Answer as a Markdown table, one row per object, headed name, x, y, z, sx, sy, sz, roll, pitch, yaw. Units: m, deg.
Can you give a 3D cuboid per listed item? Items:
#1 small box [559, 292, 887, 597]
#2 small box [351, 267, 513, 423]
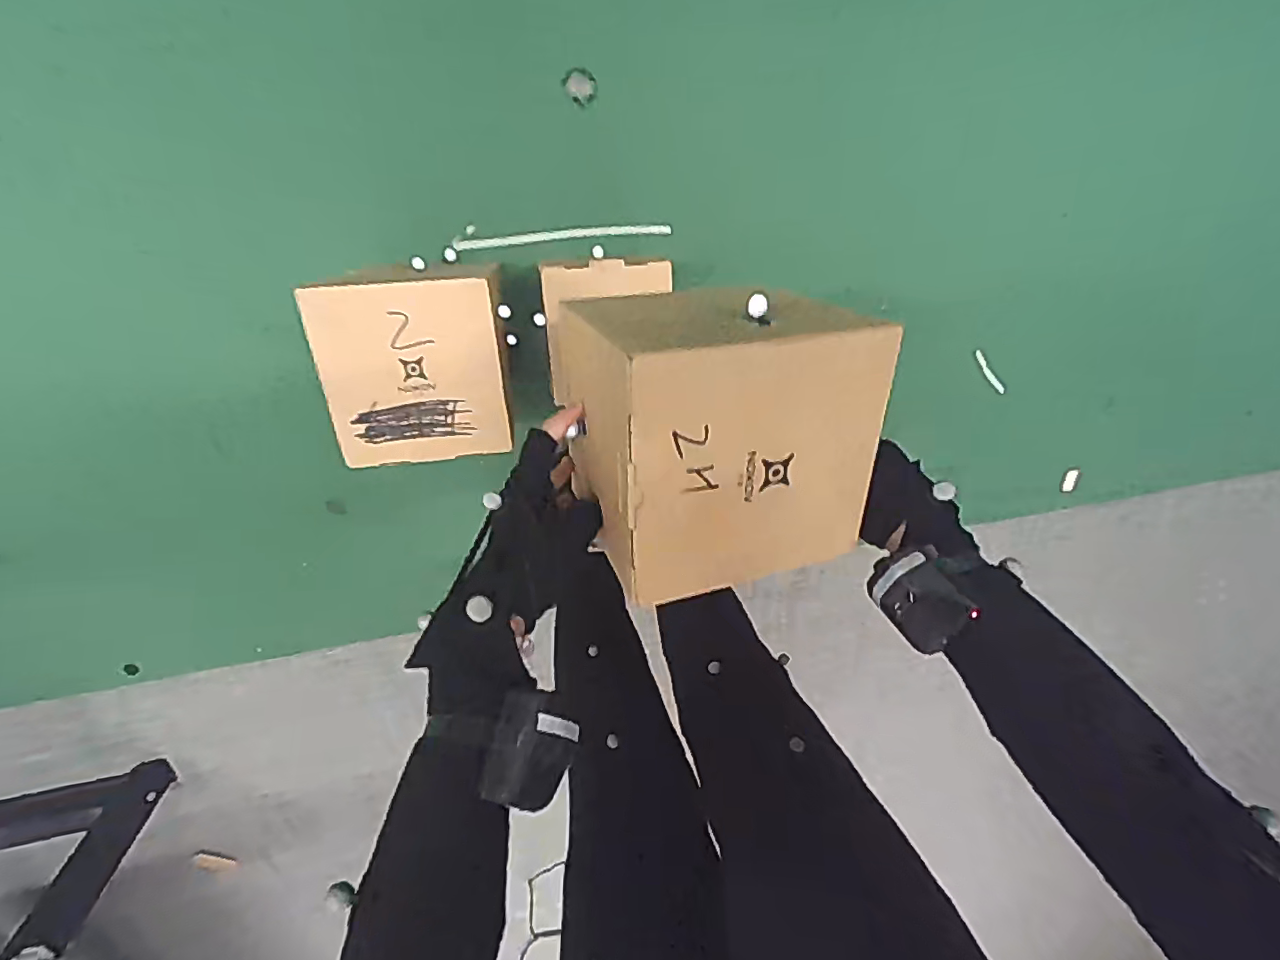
| name | x | y | z | sx | sy | sz | roll | pitch | yaw |
| --- | --- | --- | --- | --- | --- | --- | --- | --- | --- |
| small box | 0.045 | -0.043 | 0.412 | 0.179 | 0.176 | 0.168 | -10 | 119 | -16 |
| small box | -0.268 | -0.191 | 0.742 | 0.168 | 0.176 | 0.179 | -5 | 116 | -10 |
